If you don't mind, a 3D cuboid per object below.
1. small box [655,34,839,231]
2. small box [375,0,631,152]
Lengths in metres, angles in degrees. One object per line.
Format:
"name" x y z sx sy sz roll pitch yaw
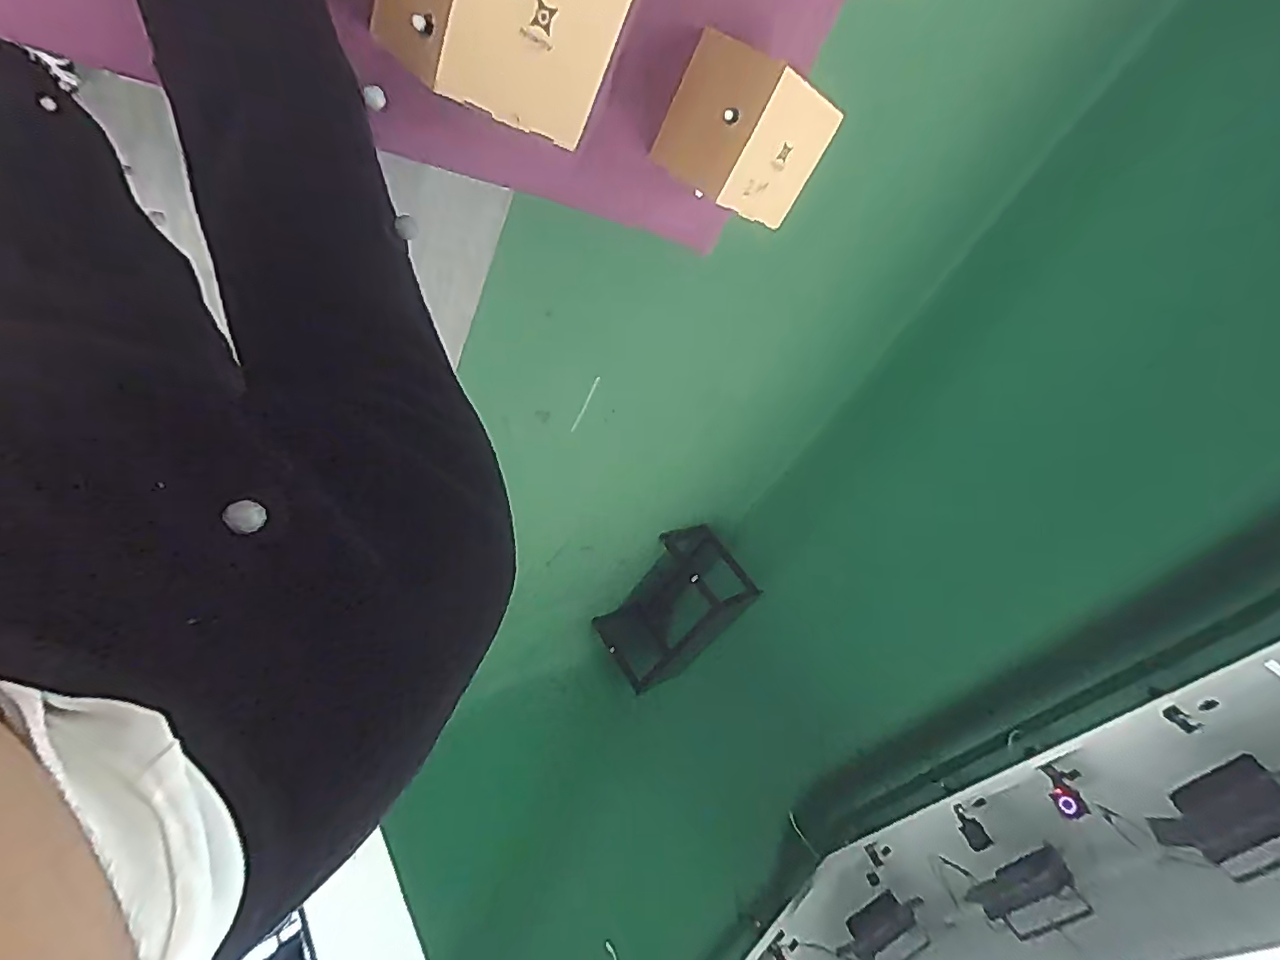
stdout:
"small box" 0.151 -0.514 0.809 0.168 0.176 0.179 -6 139 -45
"small box" -0.137 -0.470 0.529 0.168 0.176 0.179 -8 141 -46
